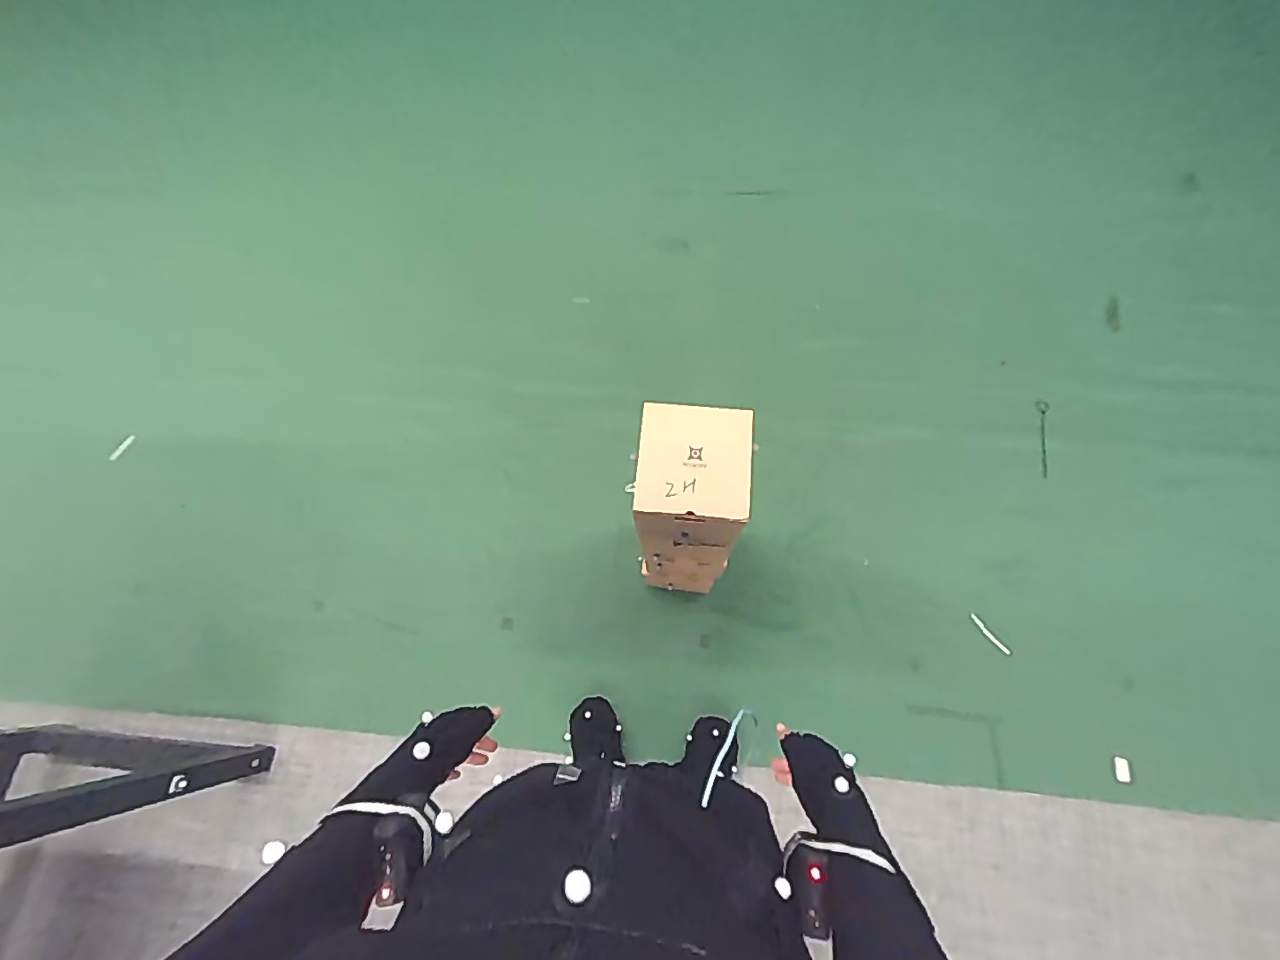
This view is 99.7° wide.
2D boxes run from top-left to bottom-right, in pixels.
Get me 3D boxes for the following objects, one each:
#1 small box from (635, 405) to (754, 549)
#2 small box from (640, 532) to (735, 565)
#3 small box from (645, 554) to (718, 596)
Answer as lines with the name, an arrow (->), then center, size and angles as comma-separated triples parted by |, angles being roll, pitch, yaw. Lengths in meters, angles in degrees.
small box -> 0.084, 0.001, 0.864 | 0.168, 0.176, 0.179 | 5, 71, 4
small box -> 0.094, 0.057, 1.020 | 0.168, 0.176, 0.179 | 6, 70, 4
small box -> 0.105, 0.177, 1.326 | 0.168, 0.176, 0.179 | 7, 72, 4
